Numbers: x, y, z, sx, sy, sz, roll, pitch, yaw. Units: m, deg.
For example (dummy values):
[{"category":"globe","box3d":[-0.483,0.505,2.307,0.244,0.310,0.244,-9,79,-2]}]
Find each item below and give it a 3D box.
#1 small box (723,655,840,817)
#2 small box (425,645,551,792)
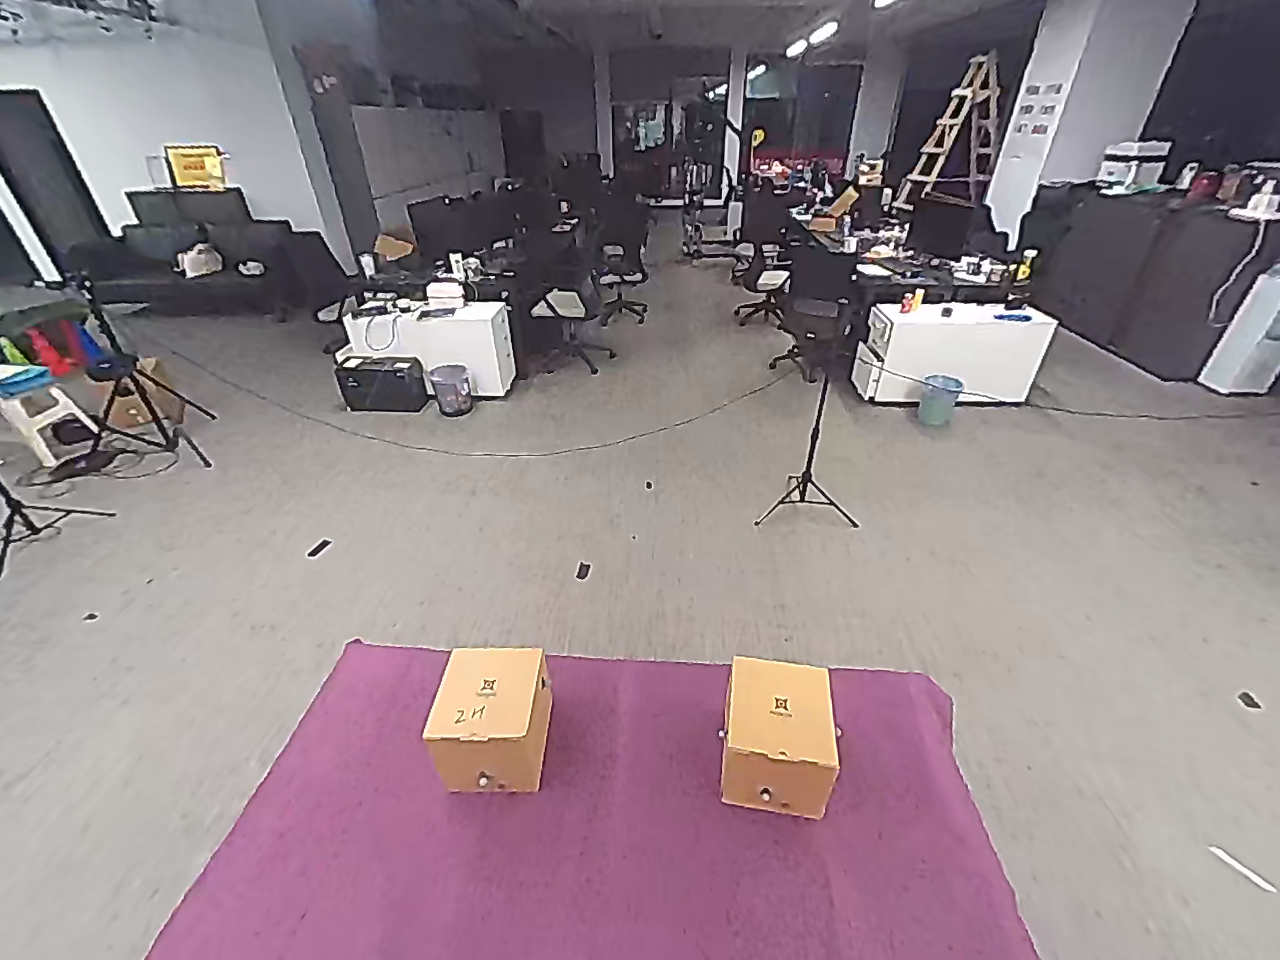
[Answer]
[{"category":"small box","box3d":[0.232,0.432,0.922,0.168,0.176,0.179,5,35,9]},{"category":"small box","box3d":[-0.255,0.417,0.955,0.168,0.176,0.179,0,34,1]}]
